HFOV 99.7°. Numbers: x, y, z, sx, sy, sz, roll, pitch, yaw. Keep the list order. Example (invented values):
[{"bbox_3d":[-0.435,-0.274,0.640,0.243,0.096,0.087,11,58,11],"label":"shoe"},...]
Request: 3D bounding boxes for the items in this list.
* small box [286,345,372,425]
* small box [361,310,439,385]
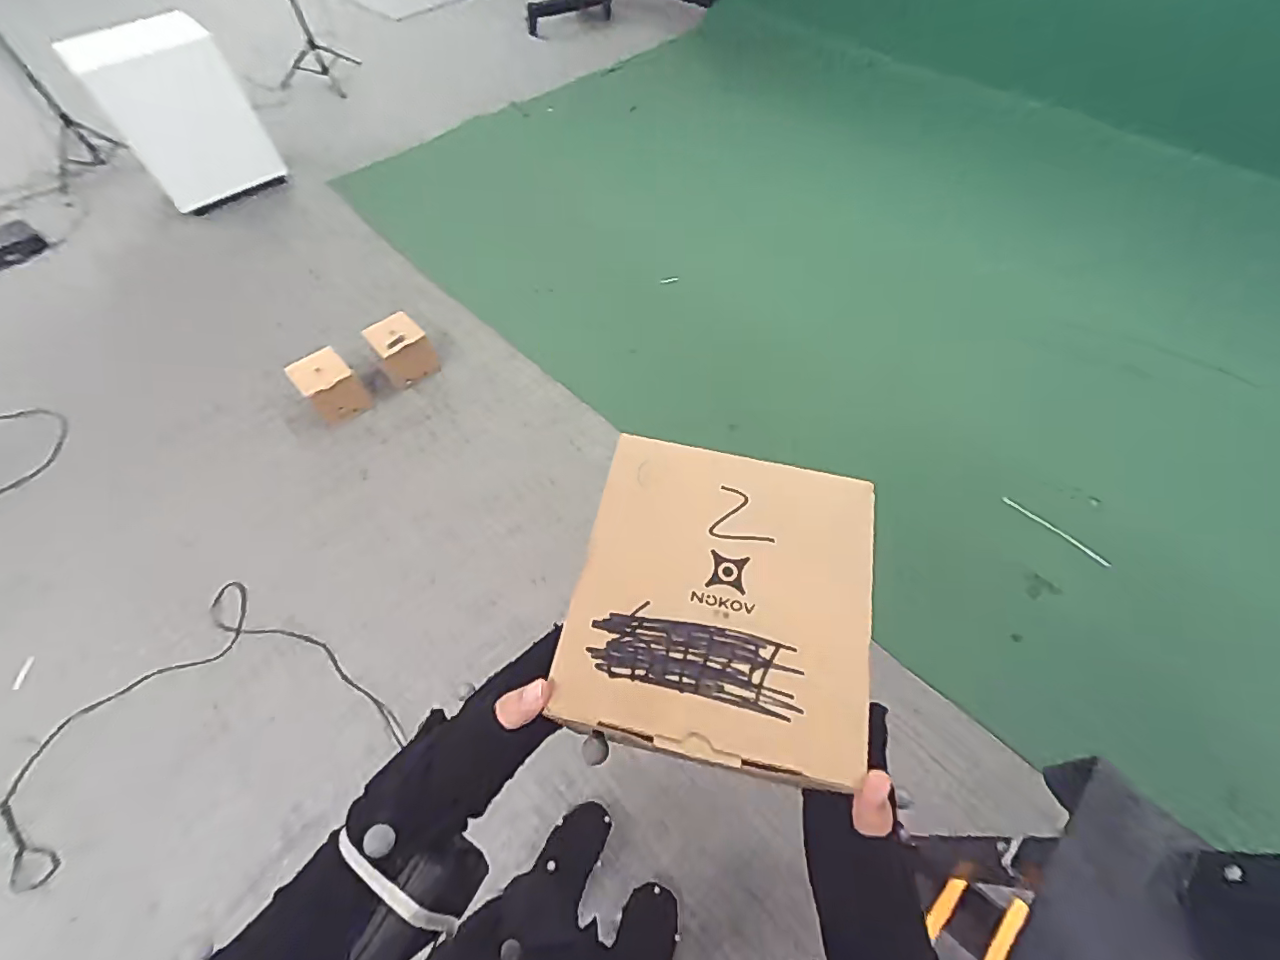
[{"bbox_3d":[-1.060,-0.322,1.852,0.168,0.176,0.179,-37,64,-21],"label":"small box"},{"bbox_3d":[-0.853,-0.468,1.943,0.168,0.176,0.179,-38,64,-21],"label":"small box"}]
